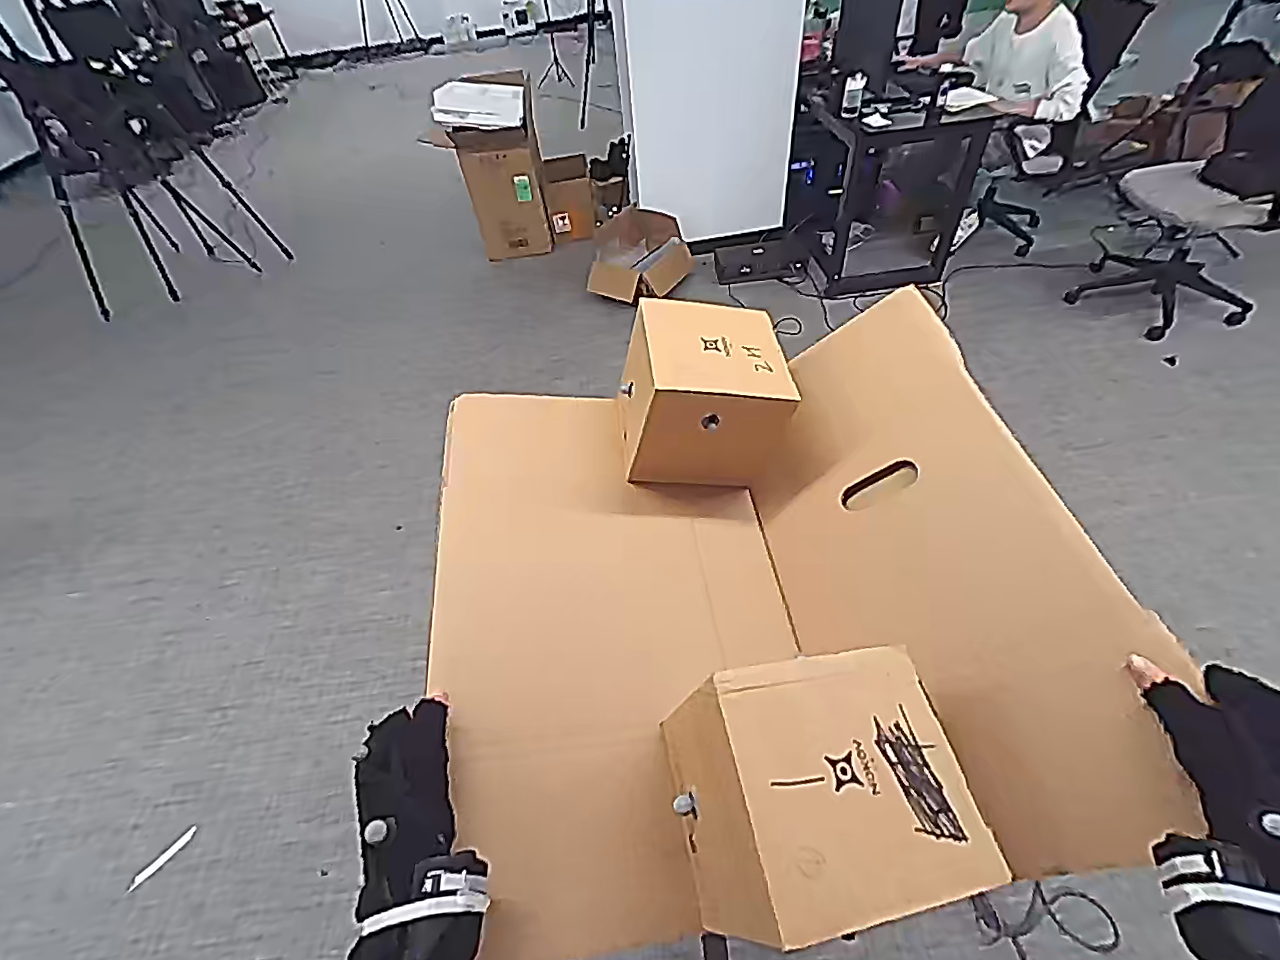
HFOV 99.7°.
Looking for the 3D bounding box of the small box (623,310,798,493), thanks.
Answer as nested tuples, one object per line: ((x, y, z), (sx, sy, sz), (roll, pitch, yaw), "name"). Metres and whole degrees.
((0.075, -0.096, 0.708), (0.179, 0.176, 0.168), (3, 53, -12), "small box")

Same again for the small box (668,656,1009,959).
((0.138, 0.262, 0.448), (0.179, 0.176, 0.168), (-3, 55, -15), "small box")
